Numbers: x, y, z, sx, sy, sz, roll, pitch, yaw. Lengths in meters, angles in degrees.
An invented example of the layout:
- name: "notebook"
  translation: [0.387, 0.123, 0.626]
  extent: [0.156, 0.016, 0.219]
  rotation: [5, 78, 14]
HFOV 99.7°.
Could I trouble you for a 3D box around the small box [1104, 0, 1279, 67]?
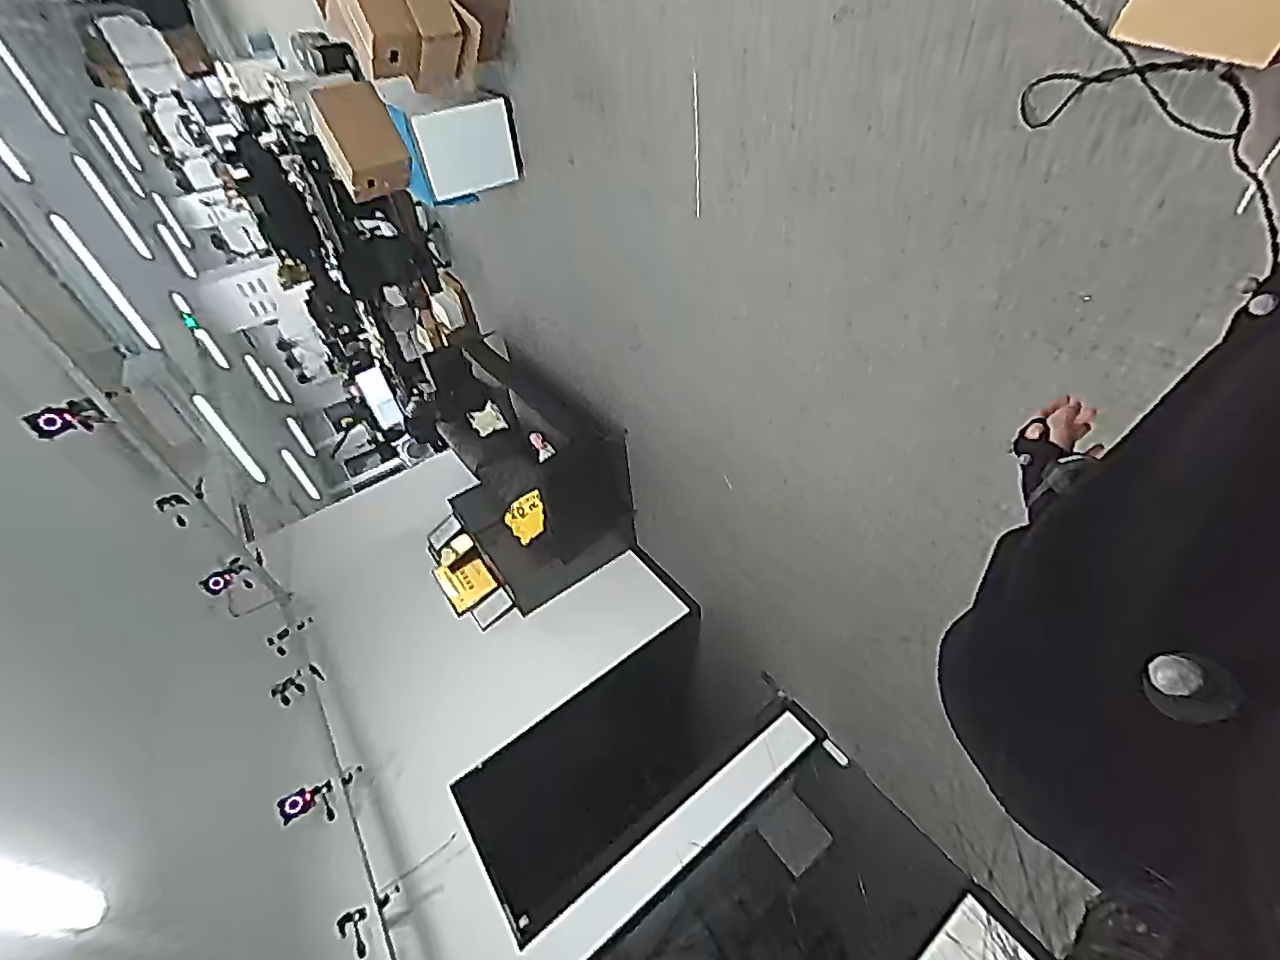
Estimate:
- name: "small box"
  translation: [0.716, -0.609, 0.624]
  extent: [0.179, 0.176, 0.168]
  rotation: [47, 153, 30]
